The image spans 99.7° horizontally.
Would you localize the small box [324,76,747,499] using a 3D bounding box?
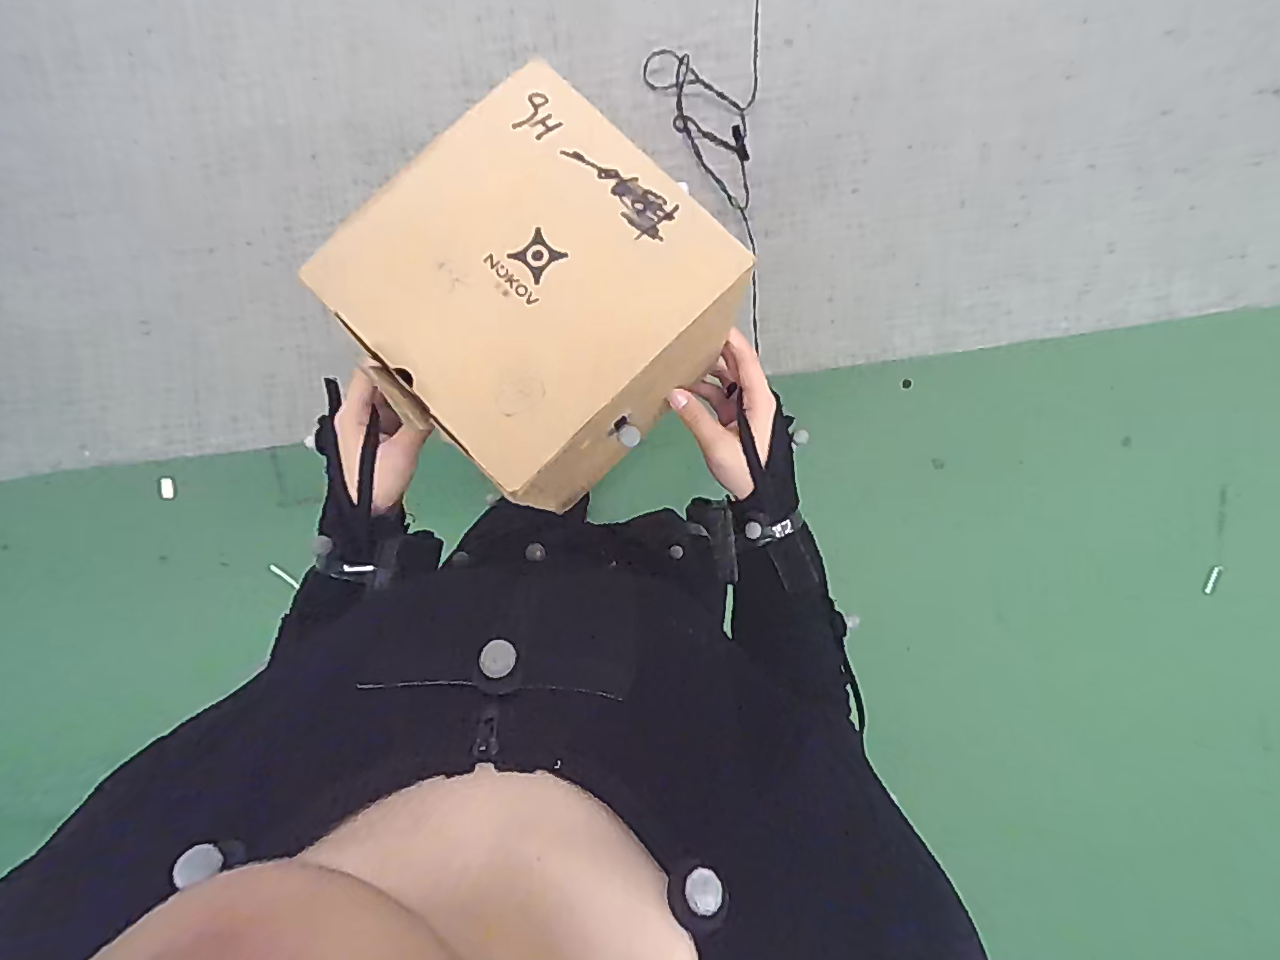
[{"bbox_3d":[-0.054,-0.102,0.369,0.168,0.176,0.179,45,87,5],"label":"small box"}]
